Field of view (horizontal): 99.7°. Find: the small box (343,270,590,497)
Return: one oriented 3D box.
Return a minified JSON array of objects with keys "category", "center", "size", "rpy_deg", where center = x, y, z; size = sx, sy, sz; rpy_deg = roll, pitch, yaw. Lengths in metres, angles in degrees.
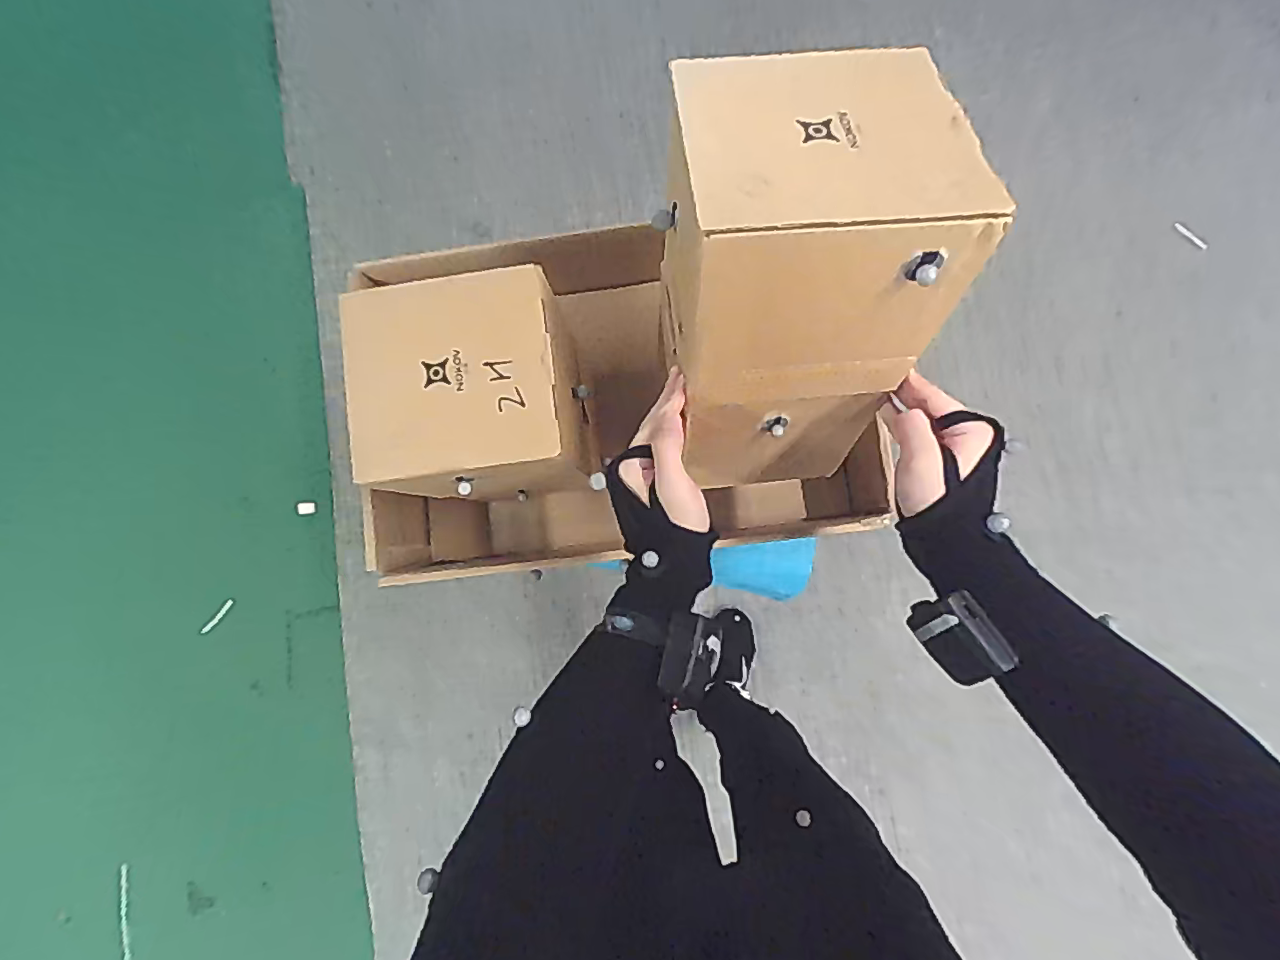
[{"category":"small box","center":[-0.153,-0.077,0.525],"size":[0.179,0.176,0.168],"rpy_deg":[-7,85,2]}]

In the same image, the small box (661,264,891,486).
[{"category":"small box","center":[0.115,-0.103,0.546],"size":[0.179,0.176,0.168],"rpy_deg":[-5,64,-2]}]

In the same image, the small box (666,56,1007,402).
[{"category":"small box","center":[0.112,-0.171,0.400],"size":[0.179,0.176,0.168],"rpy_deg":[-4,64,-2]}]
